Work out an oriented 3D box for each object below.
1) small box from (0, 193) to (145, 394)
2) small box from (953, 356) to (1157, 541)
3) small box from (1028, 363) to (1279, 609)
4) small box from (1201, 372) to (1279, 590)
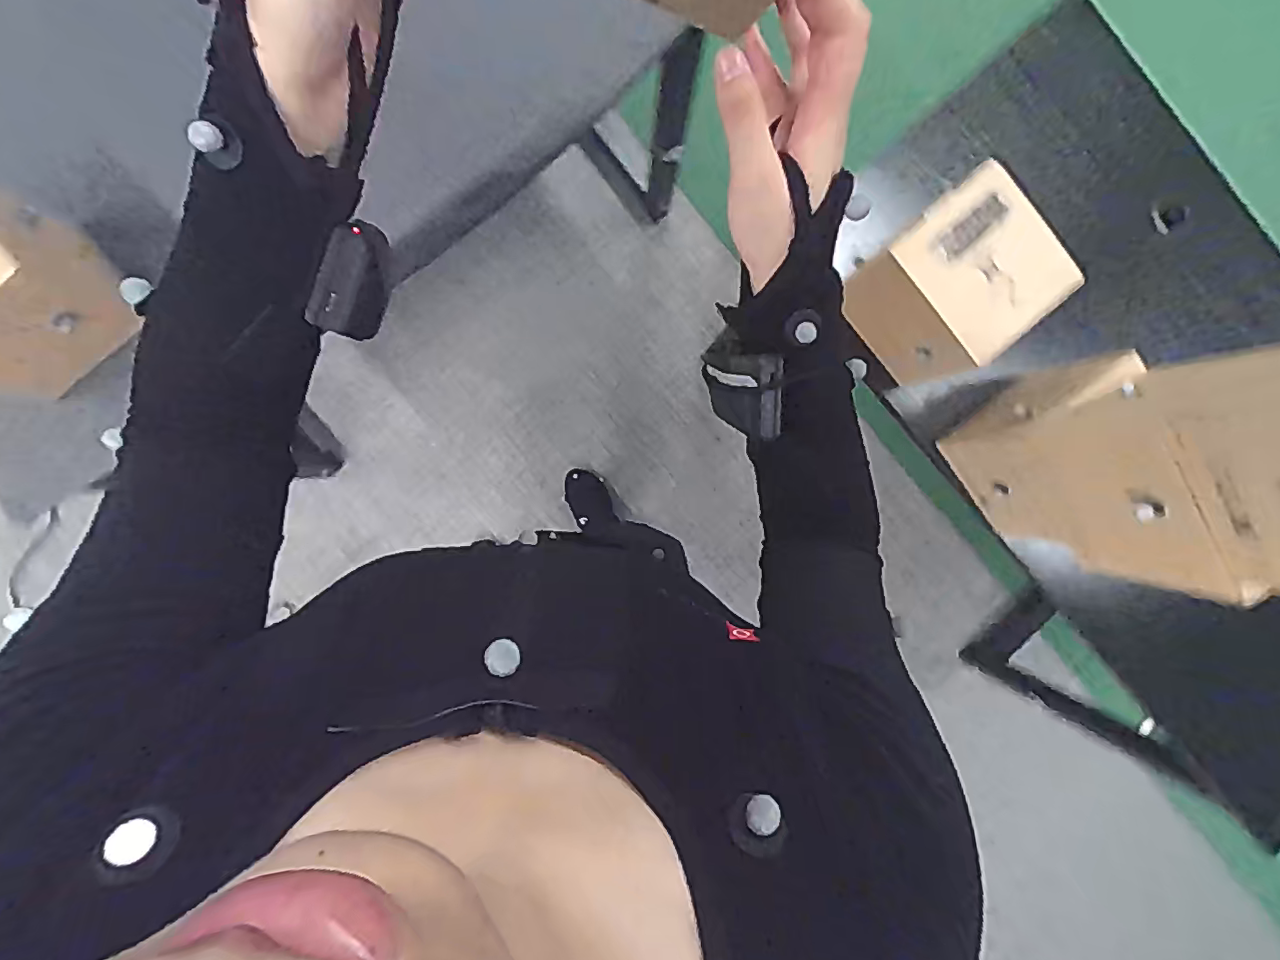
[{"bbox_3d":[-0.755,-0.226,0.641,0.179,0.176,0.168,-41,91,0],"label":"small box"},{"bbox_3d":[0.552,-0.032,0.707,0.179,0.176,0.168,-36,94,-1],"label":"small box"},{"bbox_3d":[0.552,-0.003,0.546,0.168,0.176,0.179,-28,93,-1],"label":"small box"},{"bbox_3d":[0.568,-0.011,0.383,0.179,0.176,0.168,-25,92,0],"label":"small box"}]
